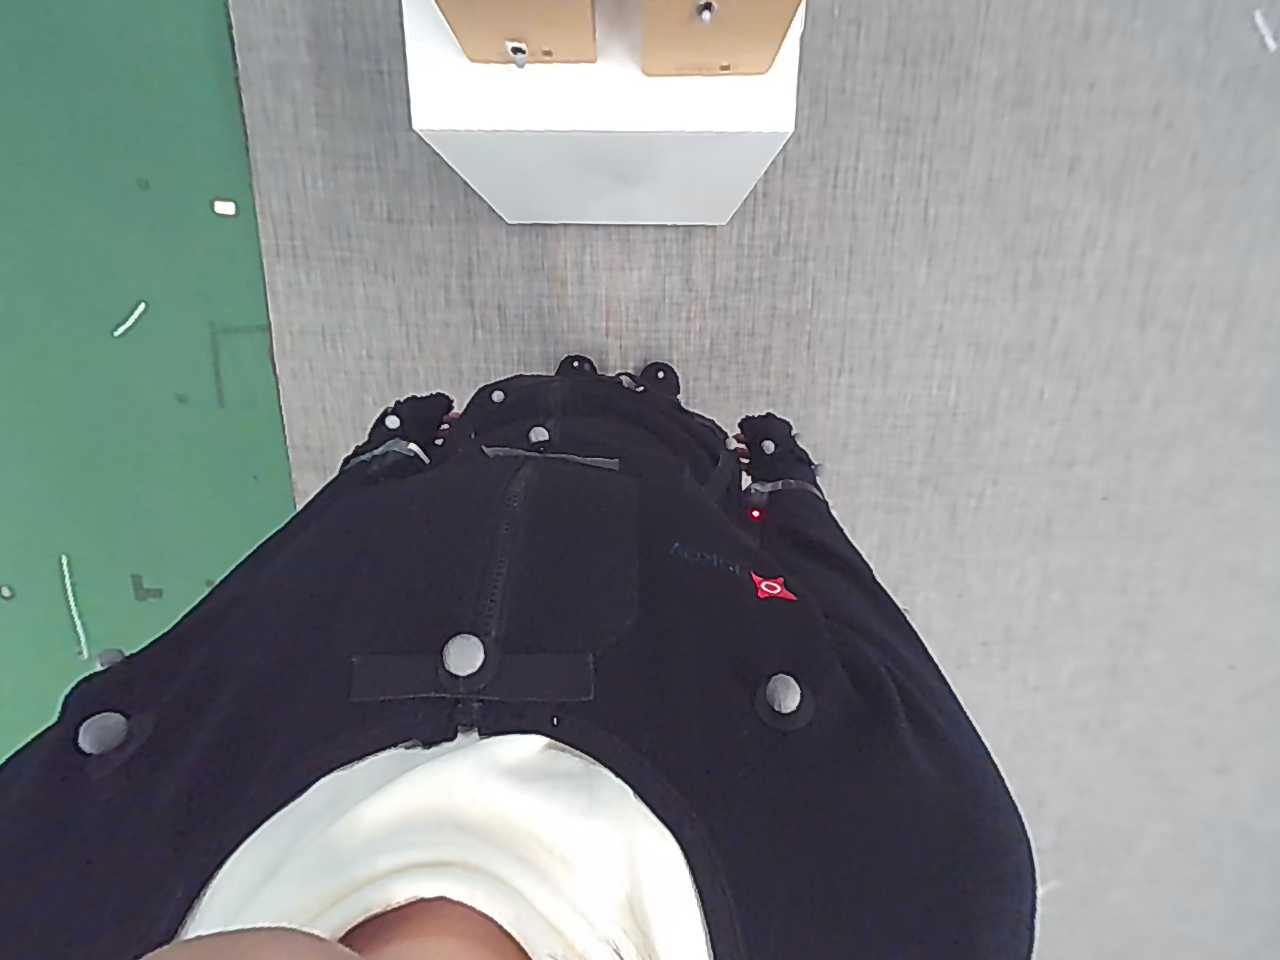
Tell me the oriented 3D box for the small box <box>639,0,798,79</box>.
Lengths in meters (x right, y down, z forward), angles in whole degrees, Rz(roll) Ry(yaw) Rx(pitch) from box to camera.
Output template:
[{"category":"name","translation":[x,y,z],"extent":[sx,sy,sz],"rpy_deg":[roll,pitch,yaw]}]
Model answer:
[{"category":"small box","translation":[0.083,-0.594,0.608],"extent":[0.168,0.176,0.179],"rpy_deg":[0,102,0]}]

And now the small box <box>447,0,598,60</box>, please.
[{"category":"small box","translation":[-0.136,-0.603,0.591],"extent":[0.168,0.176,0.179],"rpy_deg":[-2,104,1]}]
